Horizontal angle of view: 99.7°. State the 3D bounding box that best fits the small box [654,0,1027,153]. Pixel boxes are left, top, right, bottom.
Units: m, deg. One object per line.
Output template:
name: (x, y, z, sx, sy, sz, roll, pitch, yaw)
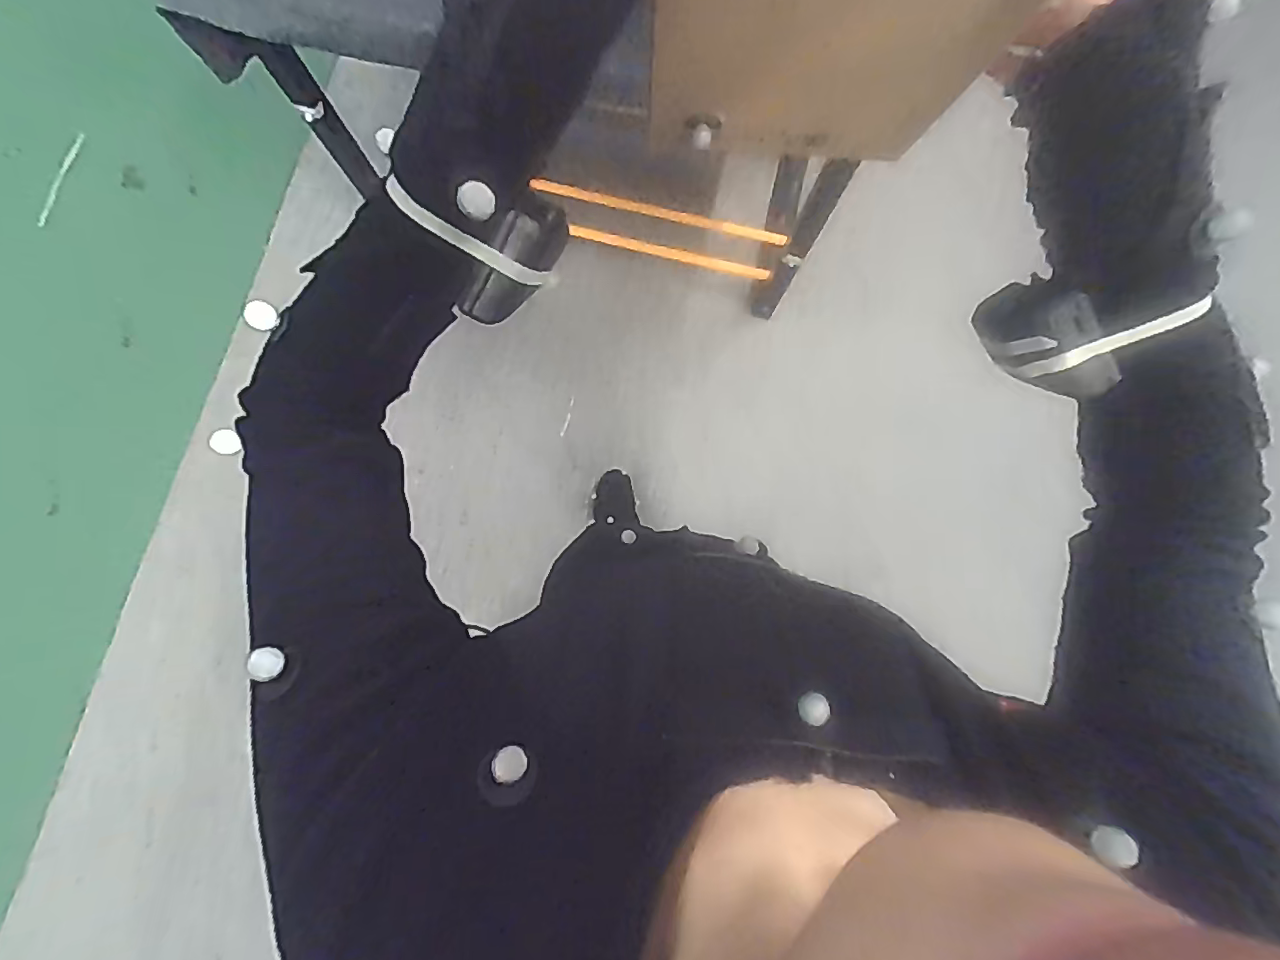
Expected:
small box: (0.095, -0.290, 0.261, 0.168, 0.176, 0.179, 4, 95, -1)
